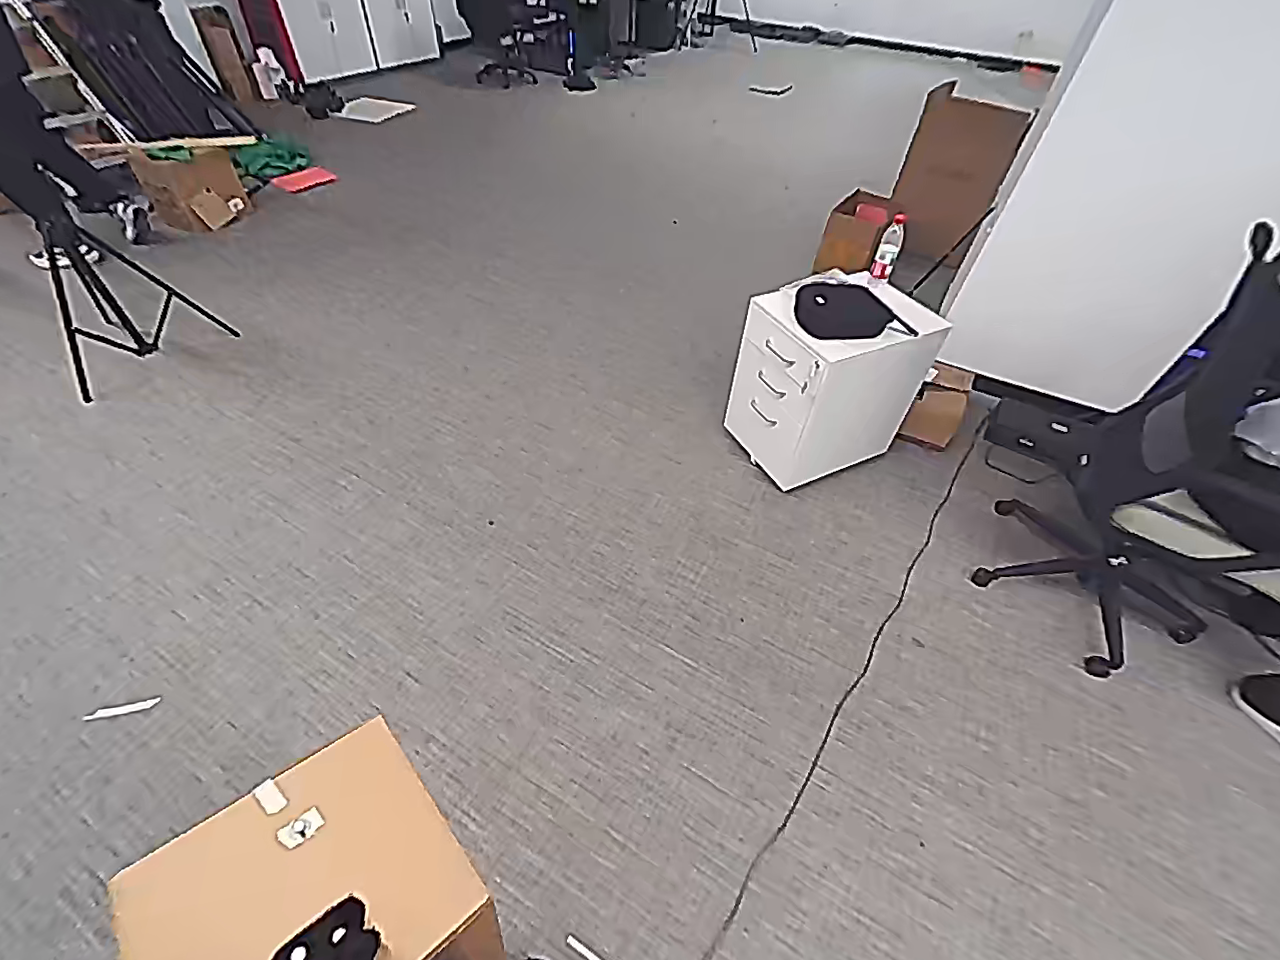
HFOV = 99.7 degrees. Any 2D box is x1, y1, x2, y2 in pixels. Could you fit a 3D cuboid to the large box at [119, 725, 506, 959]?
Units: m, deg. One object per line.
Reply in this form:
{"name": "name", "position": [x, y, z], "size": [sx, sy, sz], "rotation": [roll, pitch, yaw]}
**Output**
{"name": "large box", "position": [-0.403, 0.634, 0.737], "size": [0.320, 0.408, 0.320], "rotation": [-25, 43, -35]}
